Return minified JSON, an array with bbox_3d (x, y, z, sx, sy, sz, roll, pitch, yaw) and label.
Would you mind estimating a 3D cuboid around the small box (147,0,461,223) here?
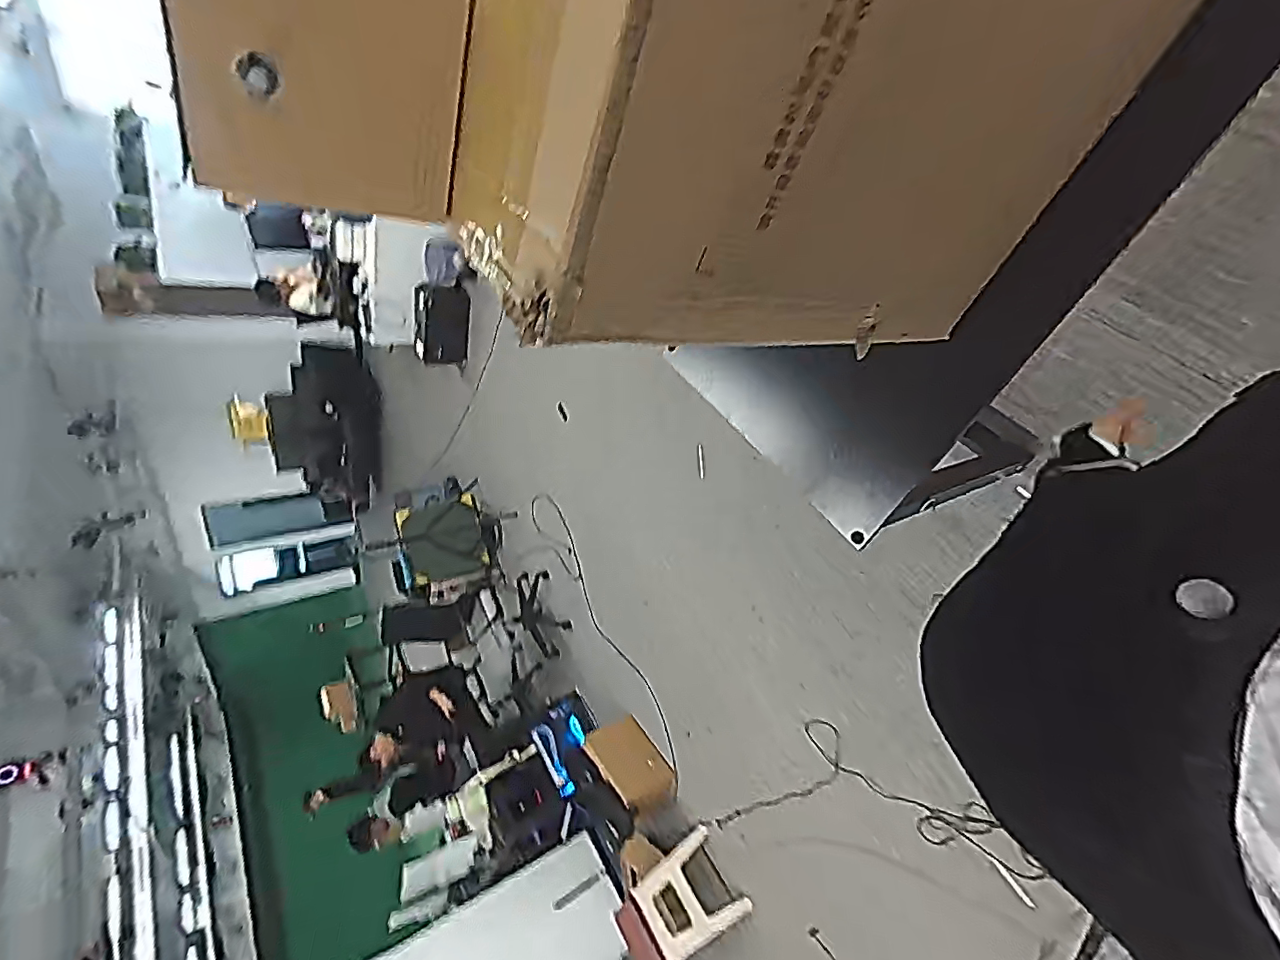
[{"bbox_3d":[-0.242,-0.313,0.395,0.168,0.176,0.179,54,136,32],"label":"small box"}]
